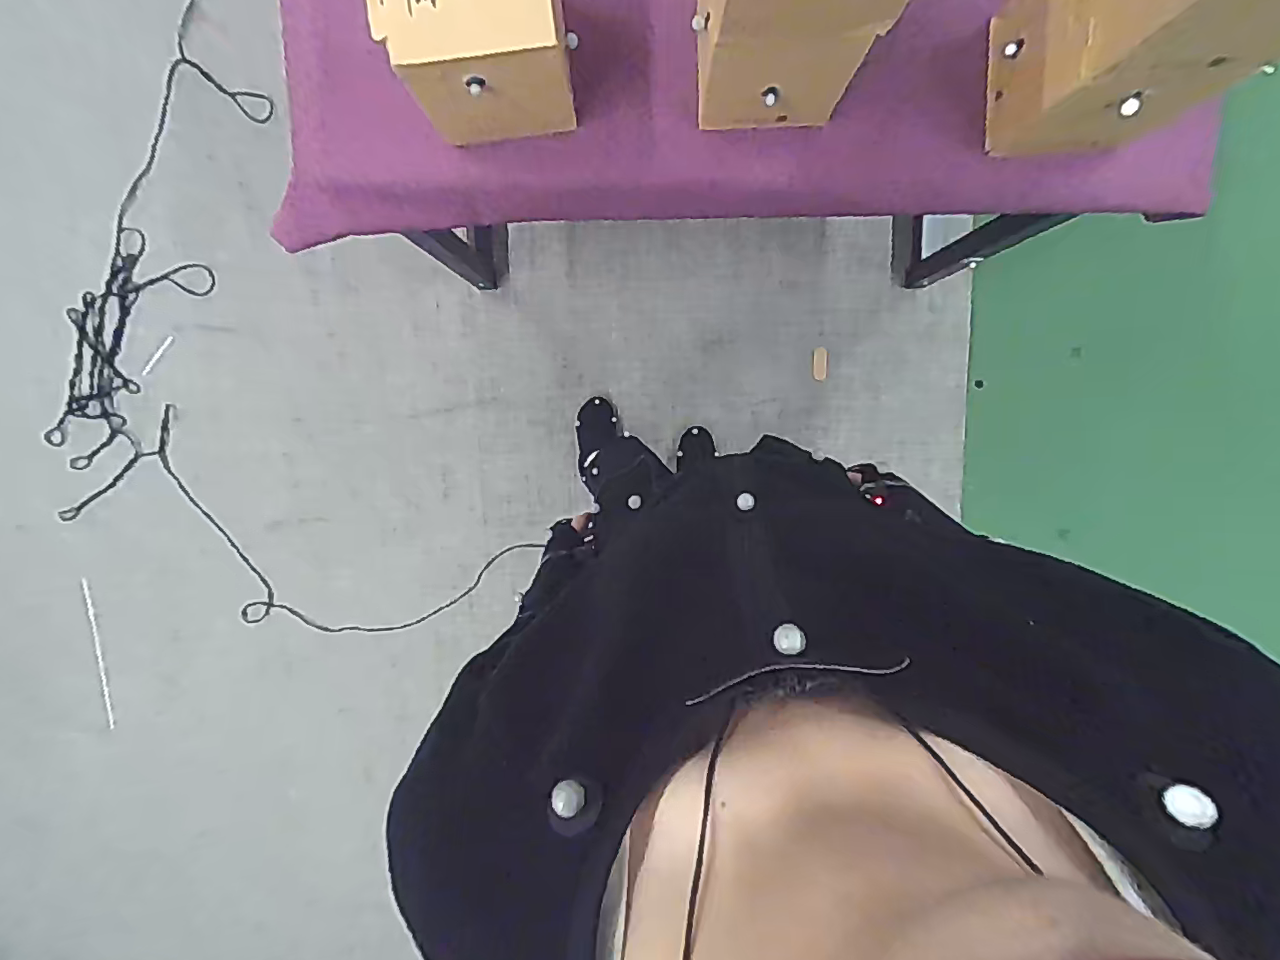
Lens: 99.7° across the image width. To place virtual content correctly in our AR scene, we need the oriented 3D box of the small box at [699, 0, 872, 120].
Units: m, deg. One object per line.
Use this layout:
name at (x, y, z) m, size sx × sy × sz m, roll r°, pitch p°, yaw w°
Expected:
small box at (0.157, -0.541, 0.618) m, size 0.168 × 0.176 × 0.179 m, roll -1°, pitch 96°, yaw 2°

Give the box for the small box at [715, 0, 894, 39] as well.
small box at (0.156, -0.516, 0.457) m, size 0.179 × 0.176 × 0.168 m, roll -1°, pitch 97°, yaw 2°

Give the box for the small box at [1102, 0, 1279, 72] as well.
small box at (0.530, -0.484, 0.444) m, size 0.168 × 0.176 × 0.179 m, roll -2°, pitch 97°, yaw 5°

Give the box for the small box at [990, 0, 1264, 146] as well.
small box at (0.535, -0.504, 0.607) m, size 0.179 × 0.176 × 0.168 m, roll -2°, pitch 98°, yaw 4°

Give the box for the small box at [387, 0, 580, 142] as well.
small box at (-0.176, -0.528, 0.635) m, size 0.179 × 0.176 × 0.168 m, roll -7°, pitch 97°, yaw 2°
